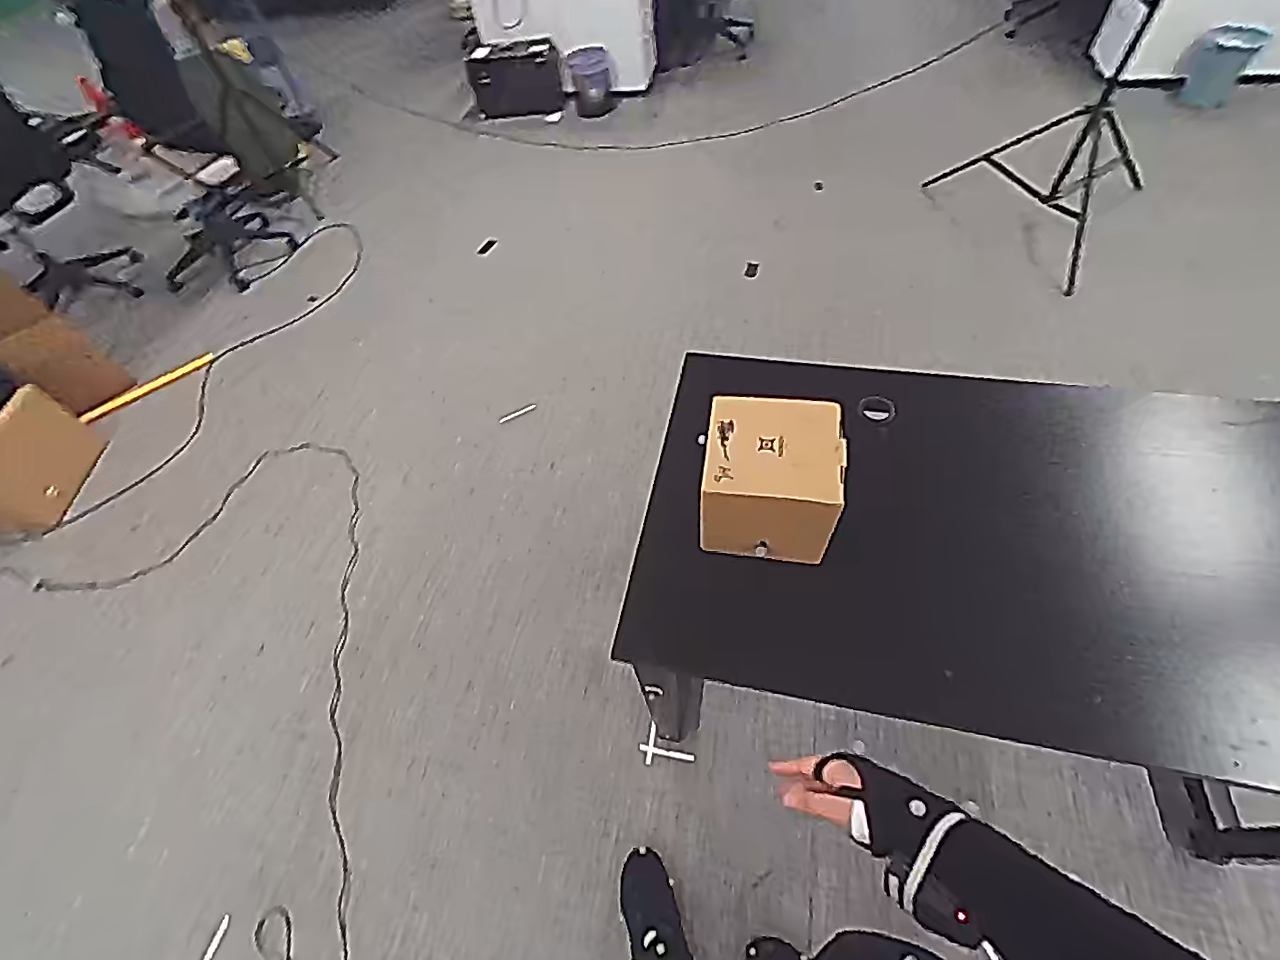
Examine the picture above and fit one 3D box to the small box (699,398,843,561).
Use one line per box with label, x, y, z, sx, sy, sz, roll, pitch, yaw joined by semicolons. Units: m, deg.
small box;0.183;0.004;0.782;0.179;0.176;0.168;6;56;9
